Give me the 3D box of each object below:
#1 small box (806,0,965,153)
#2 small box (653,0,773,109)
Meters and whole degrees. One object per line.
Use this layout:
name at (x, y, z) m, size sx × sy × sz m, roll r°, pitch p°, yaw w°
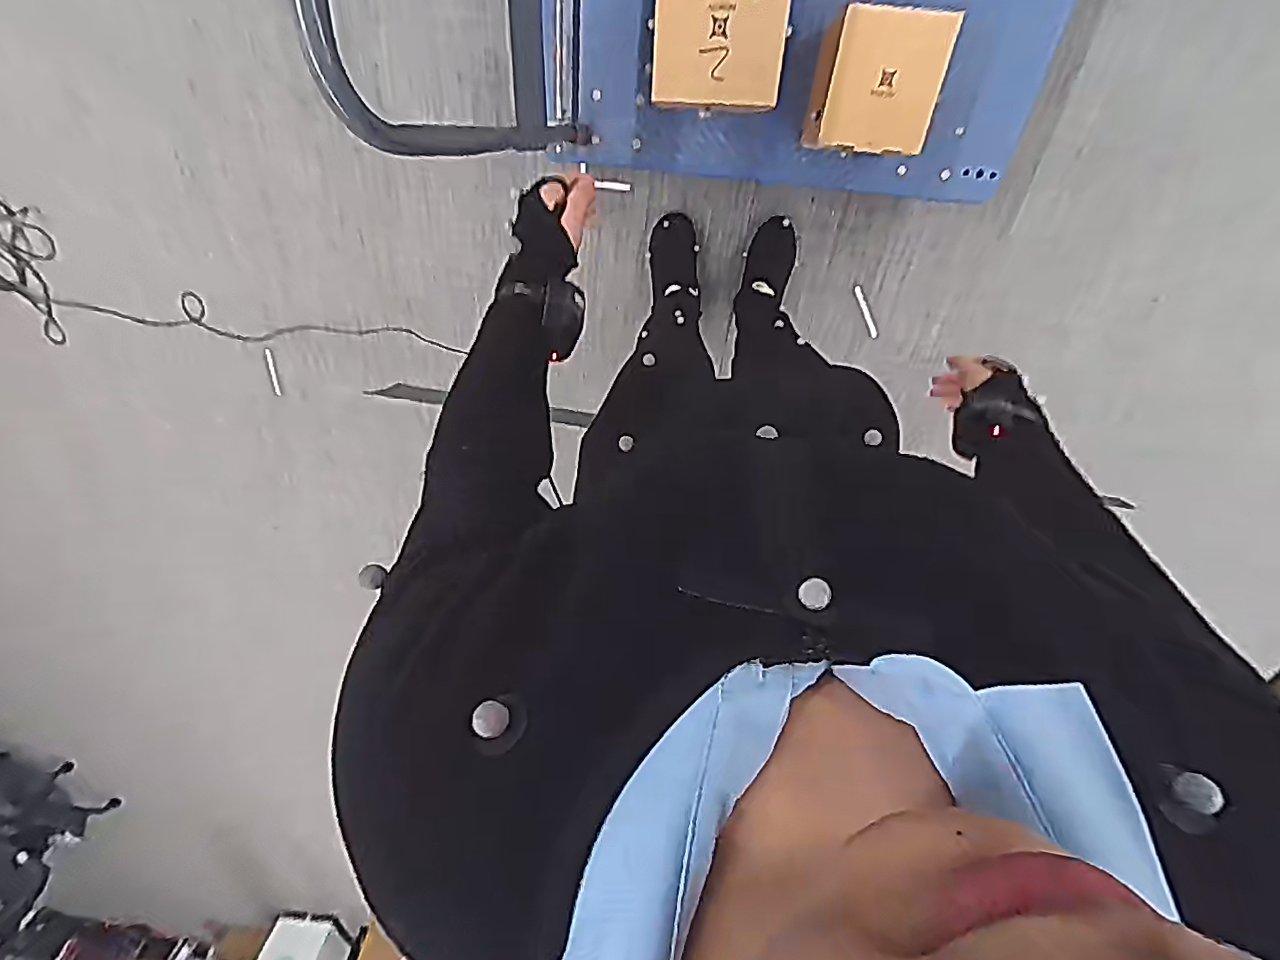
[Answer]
small box at (0.378, -0.641, 0.875) m, size 0.168 × 0.176 × 0.179 m, roll 7°, pitch 123°, yaw 2°
small box at (0.114, -0.707, 0.862) m, size 0.168 × 0.176 × 0.179 m, roll 6°, pitch 123°, yaw 3°
